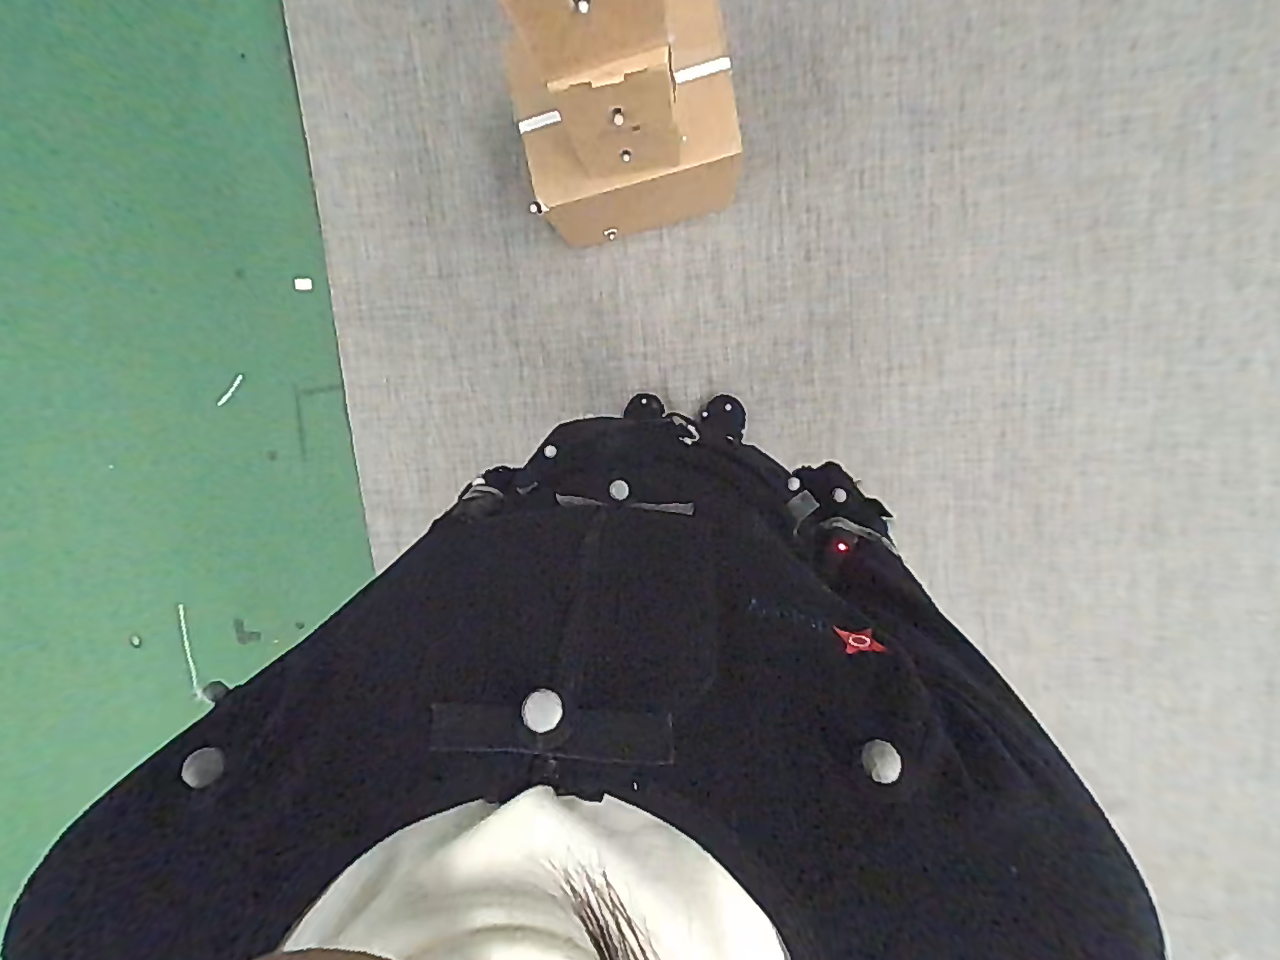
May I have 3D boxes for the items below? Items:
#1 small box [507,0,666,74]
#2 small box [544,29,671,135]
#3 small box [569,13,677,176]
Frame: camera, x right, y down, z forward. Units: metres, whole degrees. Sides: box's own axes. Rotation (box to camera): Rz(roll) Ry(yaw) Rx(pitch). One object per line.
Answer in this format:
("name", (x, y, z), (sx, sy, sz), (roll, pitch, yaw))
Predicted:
("small box", (-0.074, -0.617, 0.623), (0.179, 0.176, 0.168), (-12, 99, 7))
("small box", (-0.048, -0.631, 0.784), (0.168, 0.176, 0.179), (-6, 99, 7))
("small box", (-0.029, -0.658, 0.944), (0.179, 0.176, 0.168), (-5, 99, 8))
